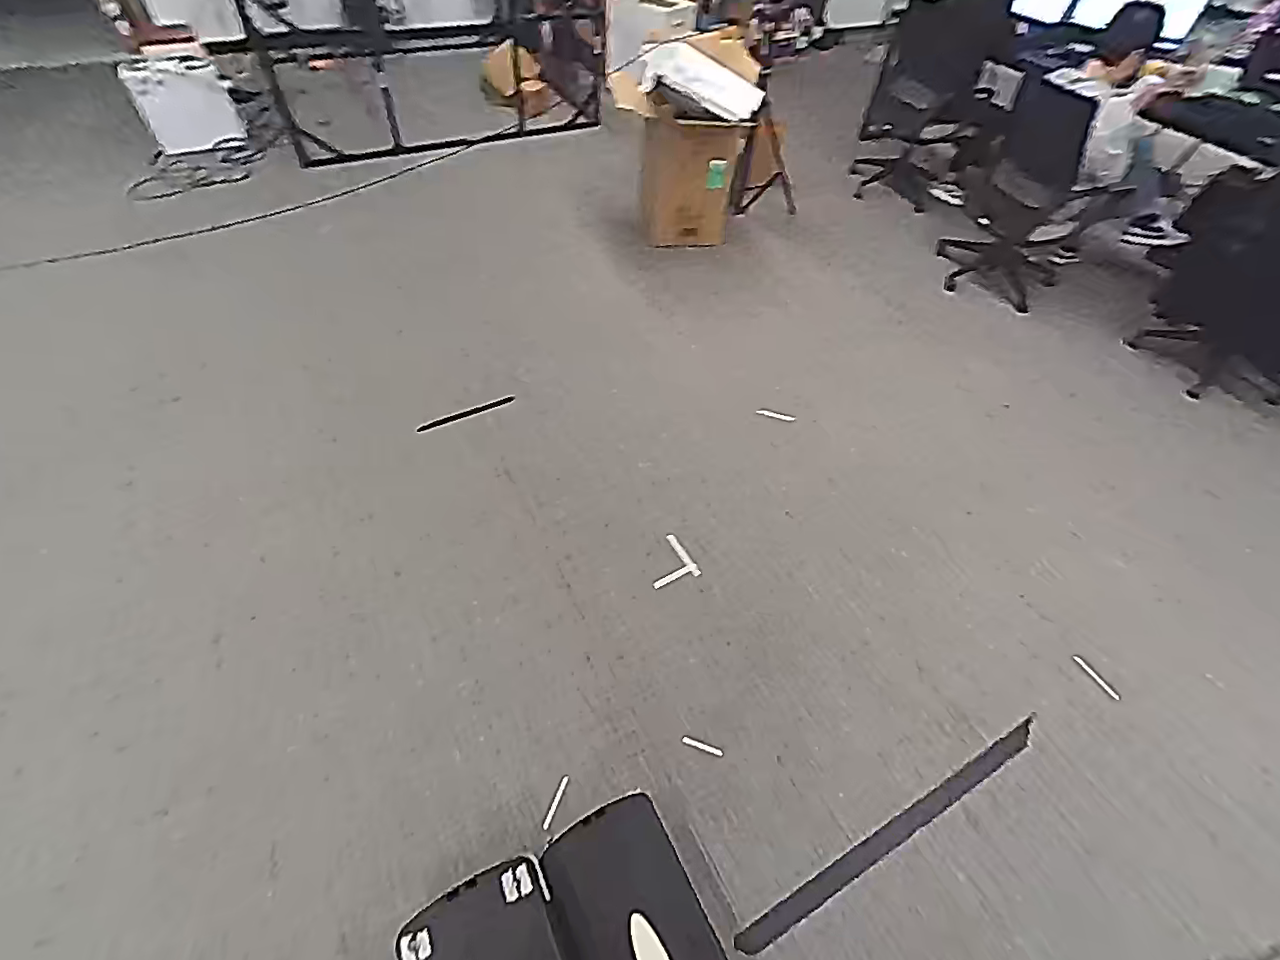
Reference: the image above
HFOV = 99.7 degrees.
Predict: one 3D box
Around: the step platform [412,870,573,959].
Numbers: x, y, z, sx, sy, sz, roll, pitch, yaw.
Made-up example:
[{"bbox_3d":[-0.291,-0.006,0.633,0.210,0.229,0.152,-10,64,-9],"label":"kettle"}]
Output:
[{"bbox_3d":[-0.195,1.117,0.956,0.286,0.204,0.684,-17,52,-18],"label":"step platform"}]
